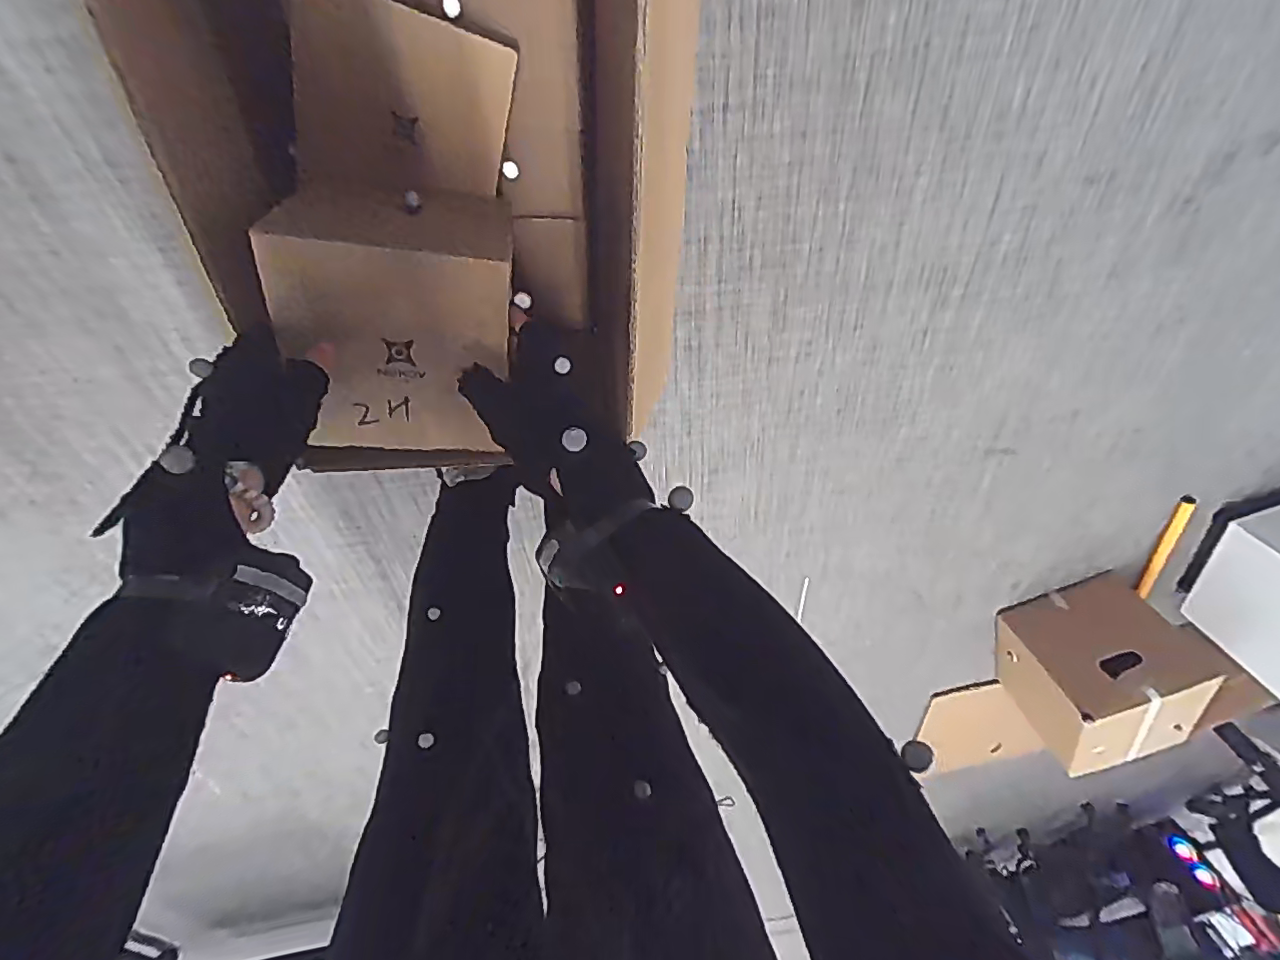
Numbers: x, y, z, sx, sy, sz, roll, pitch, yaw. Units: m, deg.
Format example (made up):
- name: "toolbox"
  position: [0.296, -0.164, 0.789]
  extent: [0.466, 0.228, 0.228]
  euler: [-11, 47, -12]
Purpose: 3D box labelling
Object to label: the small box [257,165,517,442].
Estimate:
- name: "small box"
  position: [-0.198, -0.155, 0.476]
  extent: [0.168, 0.176, 0.179]
  euler: [2, 132, -15]
